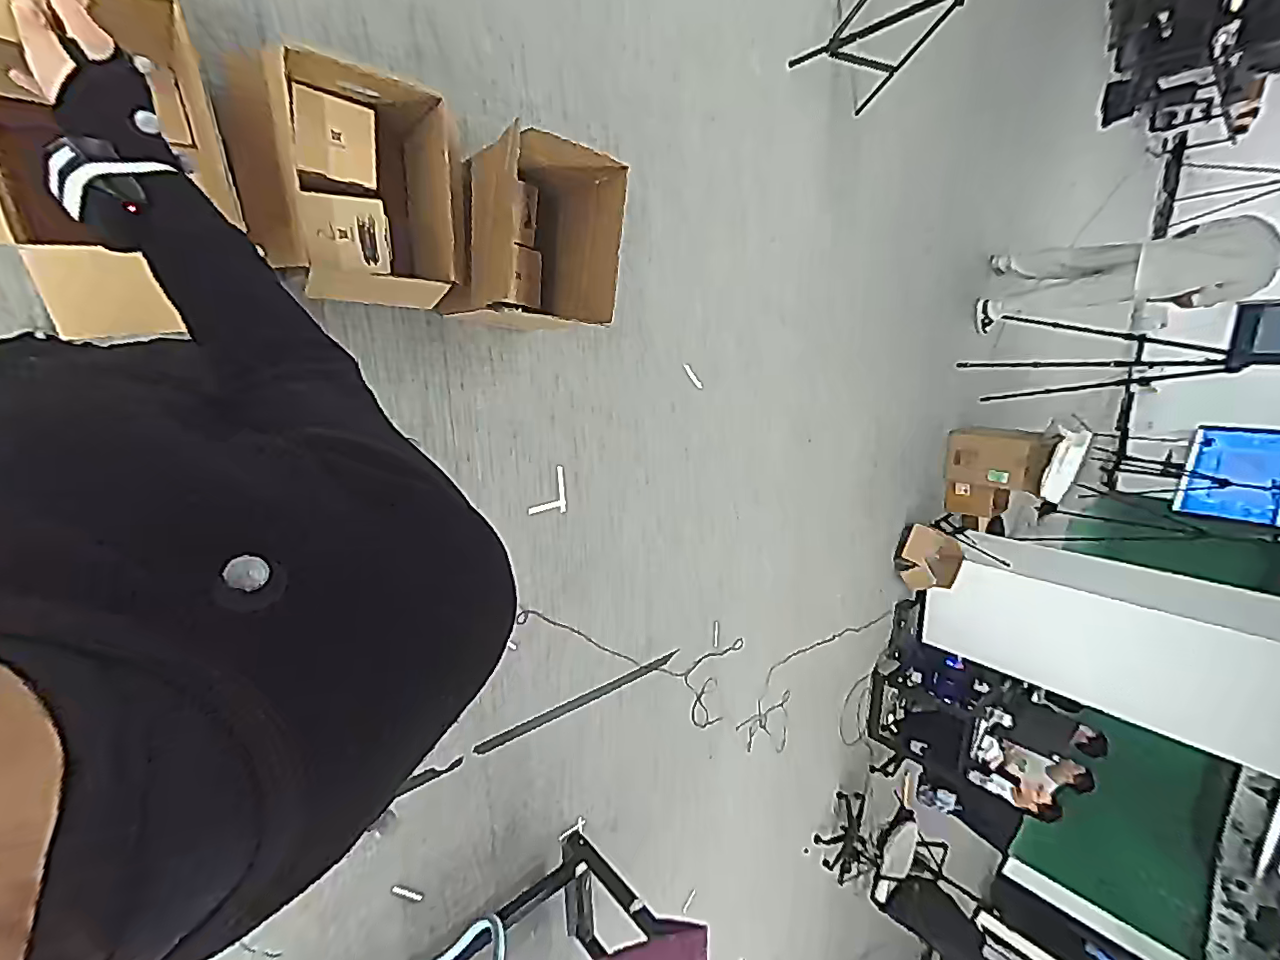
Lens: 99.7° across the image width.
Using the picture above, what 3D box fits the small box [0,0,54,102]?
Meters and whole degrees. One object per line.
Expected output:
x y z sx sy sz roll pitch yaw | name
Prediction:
-0.587 -0.414 0.404 0.179 0.176 0.168 -19 115 -46 | small box
